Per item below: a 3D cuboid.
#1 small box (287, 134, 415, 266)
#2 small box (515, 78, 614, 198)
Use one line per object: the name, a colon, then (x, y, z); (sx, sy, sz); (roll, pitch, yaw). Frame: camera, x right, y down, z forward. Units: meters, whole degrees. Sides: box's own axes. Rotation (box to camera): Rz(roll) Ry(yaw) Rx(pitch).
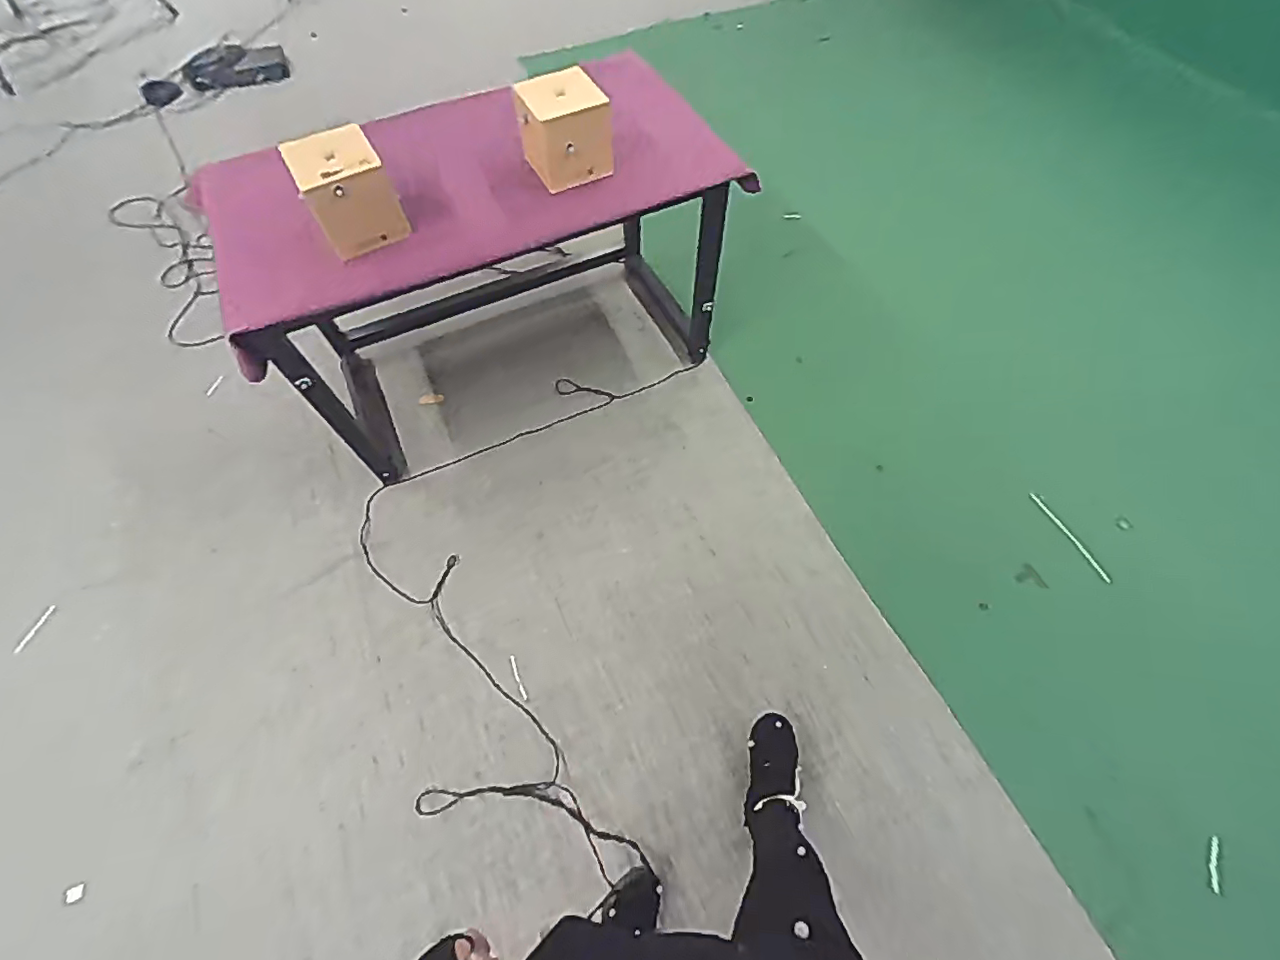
small box: (-0.620, -0.603, 1.173); (0.168, 0.176, 0.179); (-28, 64, -13)
small box: (-0.170, -0.793, 1.269); (0.168, 0.176, 0.179); (-25, 62, -11)
